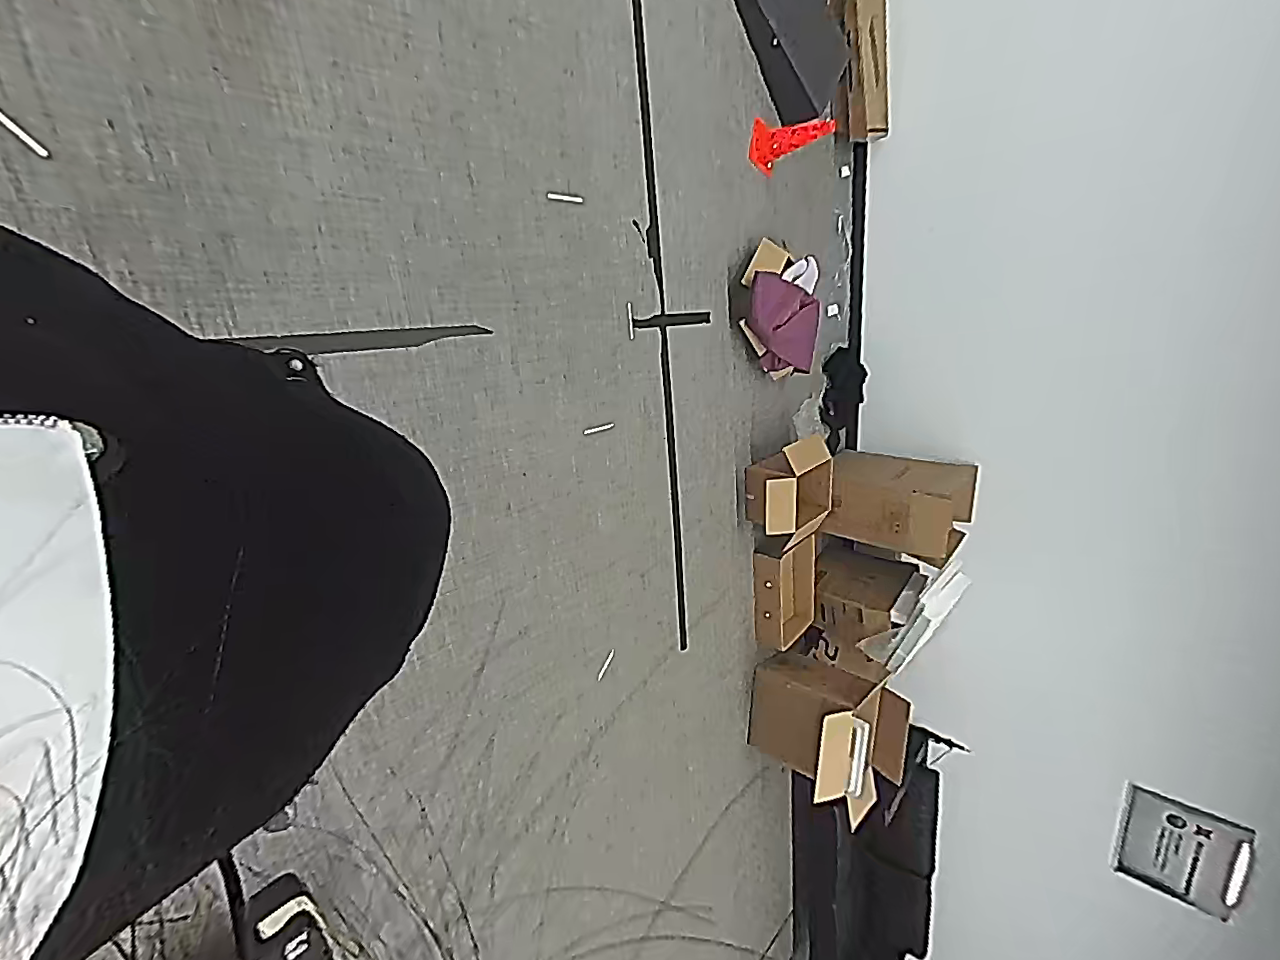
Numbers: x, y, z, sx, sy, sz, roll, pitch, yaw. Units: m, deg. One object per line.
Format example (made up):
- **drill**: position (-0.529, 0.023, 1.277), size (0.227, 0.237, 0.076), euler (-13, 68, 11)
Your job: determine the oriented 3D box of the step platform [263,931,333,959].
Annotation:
- **step platform**: position (-0.943, 1.307, 1.074), size (0.684, 0.204, 0.286), euler (-23, 116, -42)
